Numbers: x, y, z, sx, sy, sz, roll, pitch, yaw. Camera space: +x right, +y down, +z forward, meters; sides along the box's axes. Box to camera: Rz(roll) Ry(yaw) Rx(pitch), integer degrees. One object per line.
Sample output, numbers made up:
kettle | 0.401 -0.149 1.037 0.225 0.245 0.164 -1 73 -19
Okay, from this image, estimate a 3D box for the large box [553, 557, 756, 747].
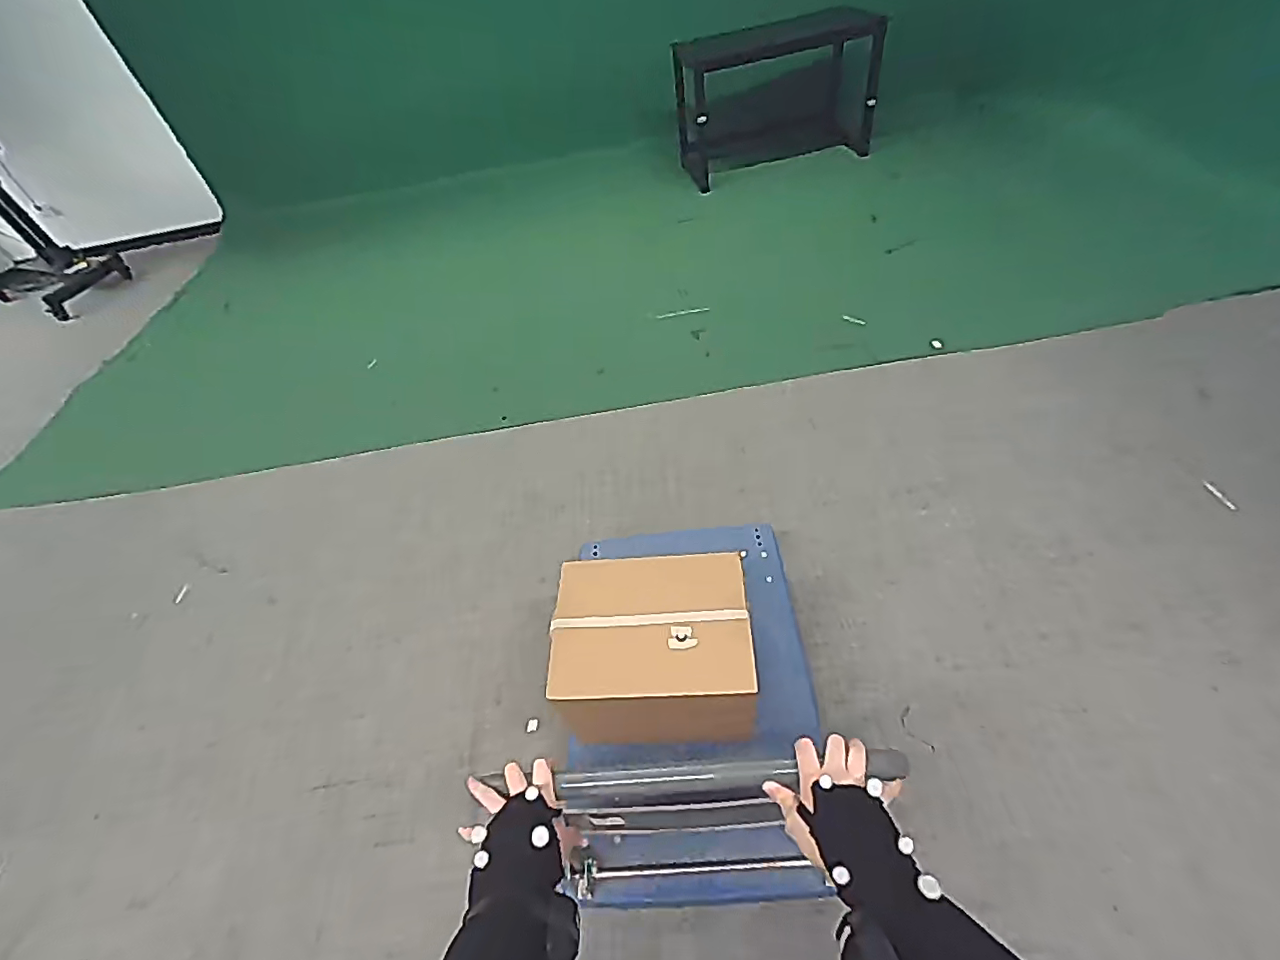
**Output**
large box | 0.039 0.401 1.247 0.408 0.320 0.320 -4 48 5
